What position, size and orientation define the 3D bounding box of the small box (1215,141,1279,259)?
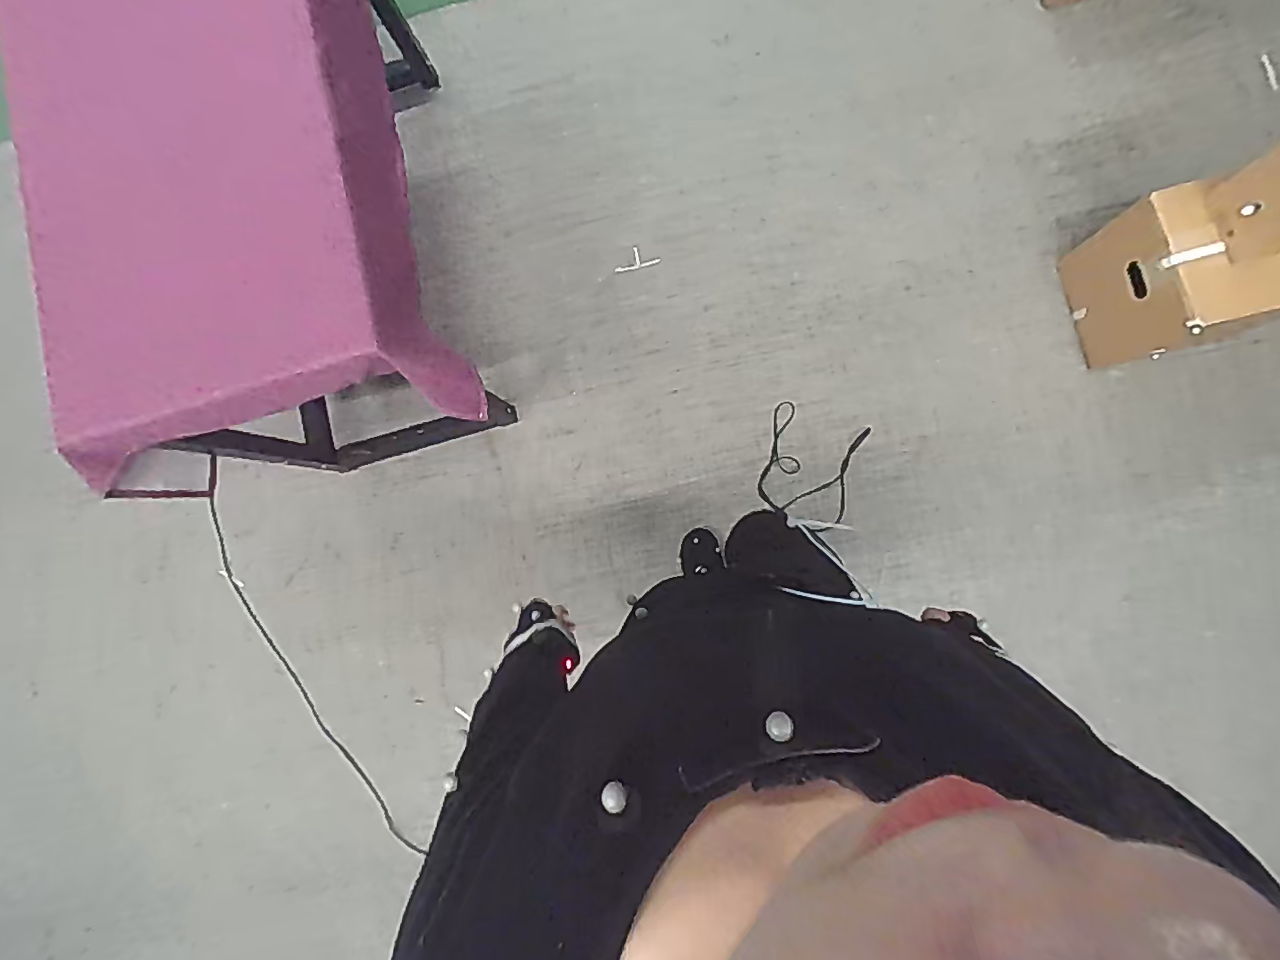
[{"bbox_3d":[1.279,-0.556,1.037,0.179,0.176,0.168,-16,82,6],"label":"small box"}]
